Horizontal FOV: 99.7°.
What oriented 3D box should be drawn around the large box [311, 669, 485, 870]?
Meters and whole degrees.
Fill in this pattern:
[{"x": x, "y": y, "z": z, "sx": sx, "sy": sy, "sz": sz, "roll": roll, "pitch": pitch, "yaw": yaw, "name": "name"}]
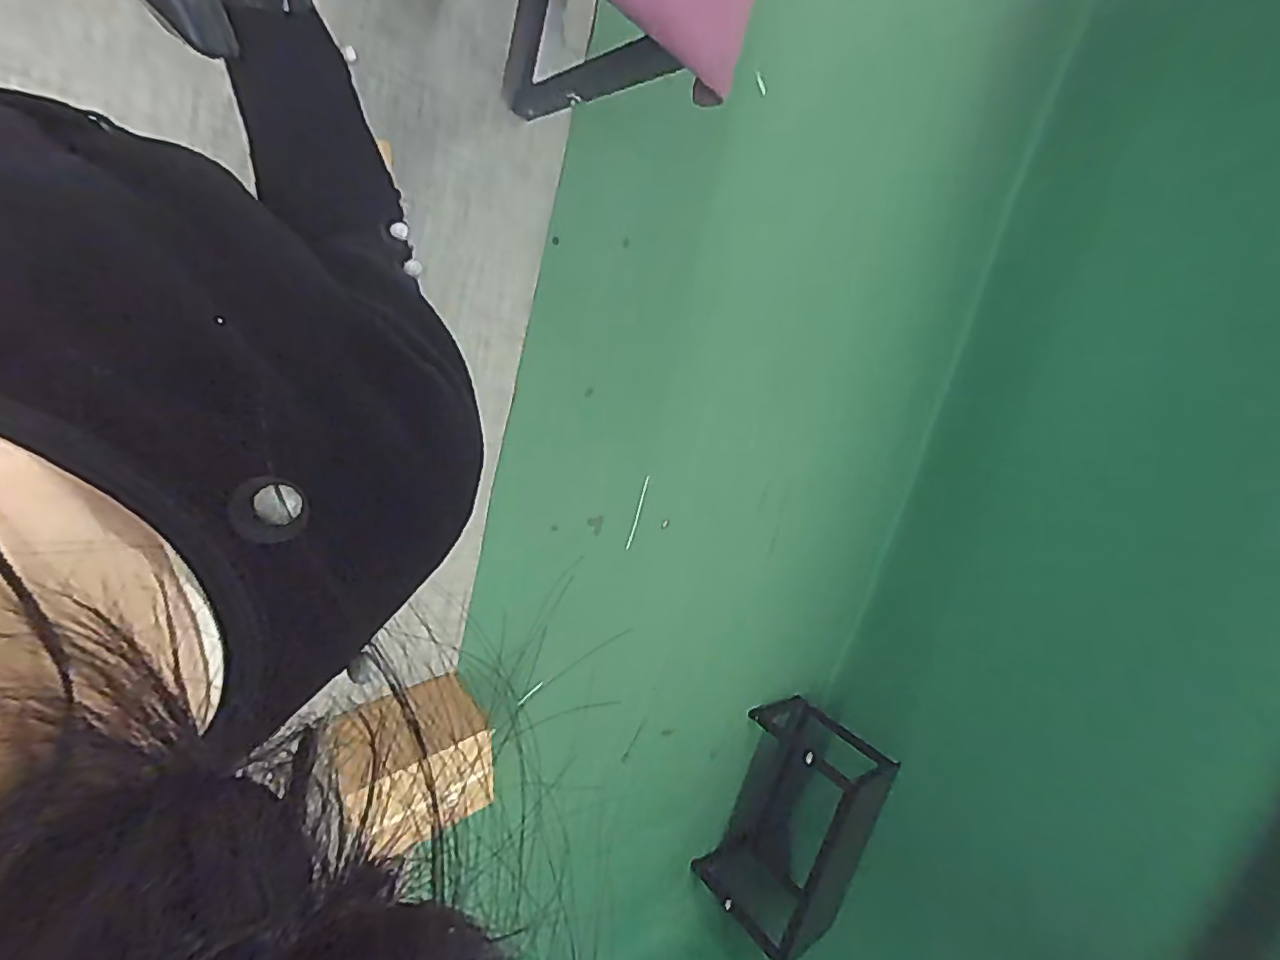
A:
[{"x": -0.736, "y": 0.860, "z": 1.667, "sx": 0.408, "sy": 0.320, "sz": 0.320, "roll": -13, "pitch": 118, "yaw": -40, "name": "large box"}]
